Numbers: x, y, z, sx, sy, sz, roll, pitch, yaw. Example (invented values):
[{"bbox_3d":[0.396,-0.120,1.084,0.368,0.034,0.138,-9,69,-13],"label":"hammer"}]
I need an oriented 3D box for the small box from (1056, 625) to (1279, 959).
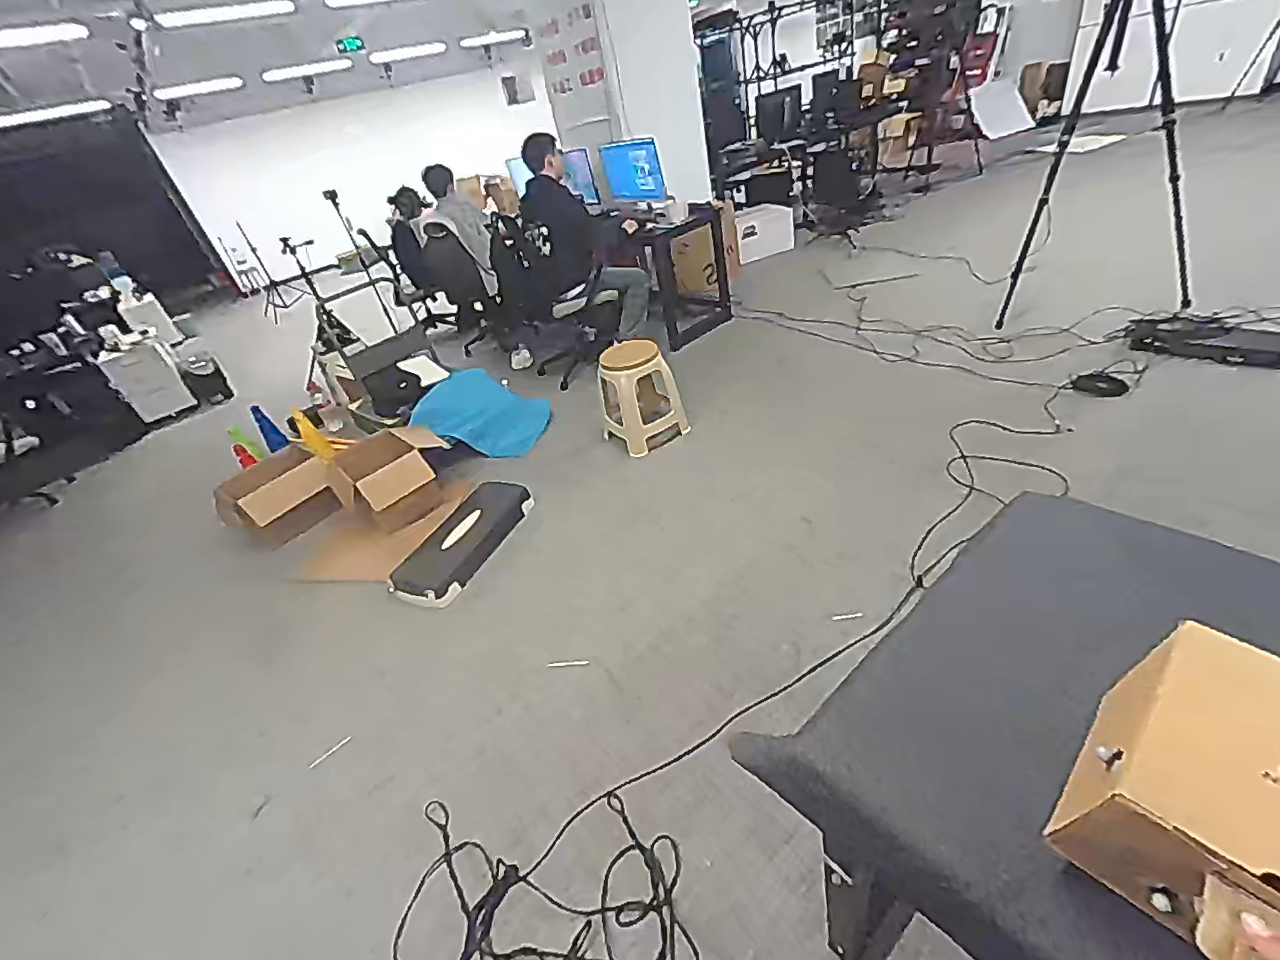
[{"bbox_3d":[0.474,0.258,0.429,0.168,0.176,0.179,30,62,36],"label":"small box"}]
